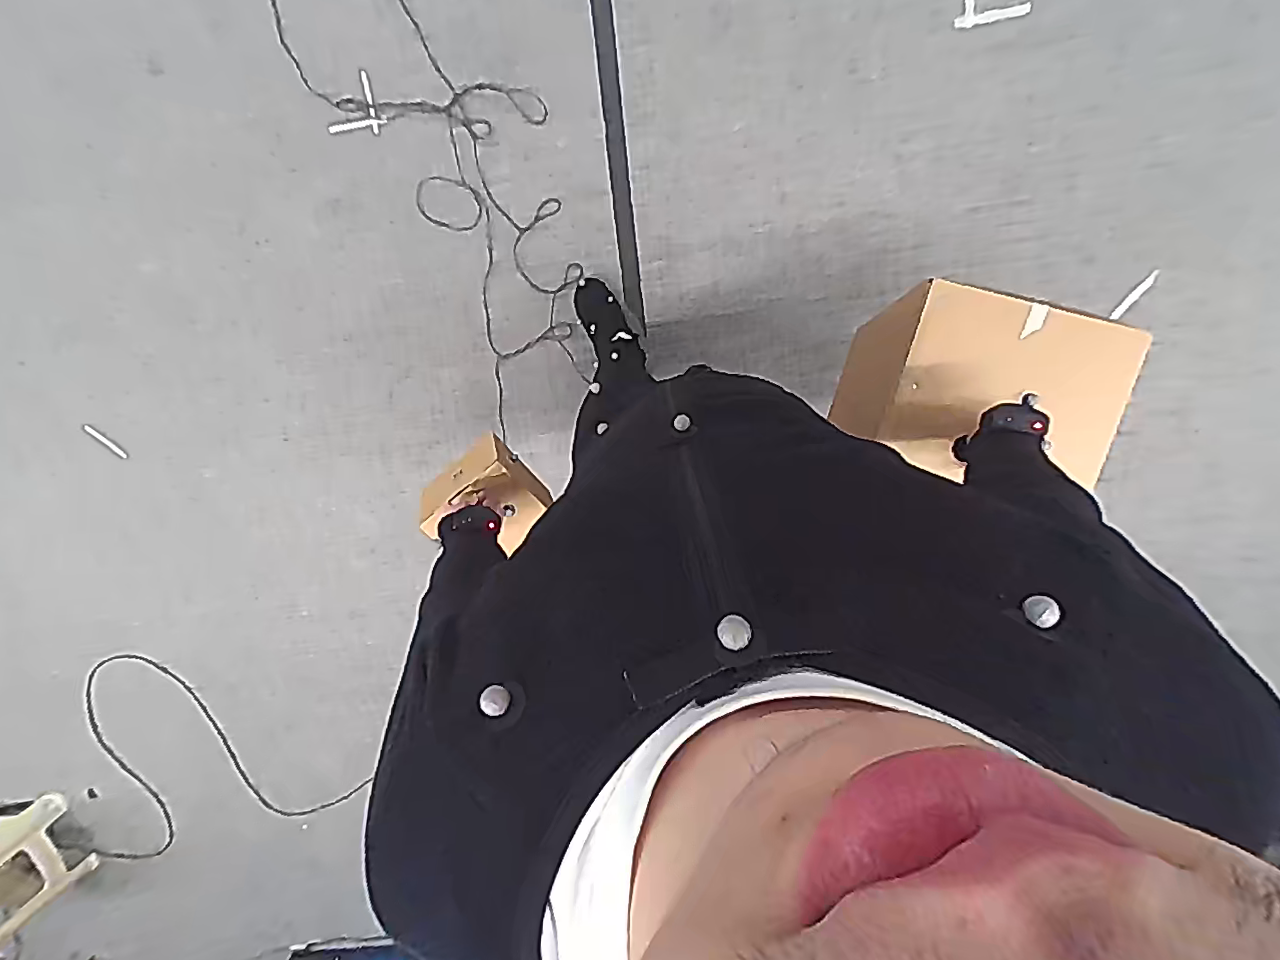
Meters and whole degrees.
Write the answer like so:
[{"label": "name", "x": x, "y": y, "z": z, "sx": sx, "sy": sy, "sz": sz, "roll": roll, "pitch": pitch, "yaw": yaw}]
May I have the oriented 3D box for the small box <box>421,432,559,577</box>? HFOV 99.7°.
[{"label": "small box", "x": -0.263, "y": 0.046, "z": 0.967, "sx": 0.168, "sy": 0.179, "sz": 0.176, "roll": -40, "pitch": 117, "yaw": 0}]
